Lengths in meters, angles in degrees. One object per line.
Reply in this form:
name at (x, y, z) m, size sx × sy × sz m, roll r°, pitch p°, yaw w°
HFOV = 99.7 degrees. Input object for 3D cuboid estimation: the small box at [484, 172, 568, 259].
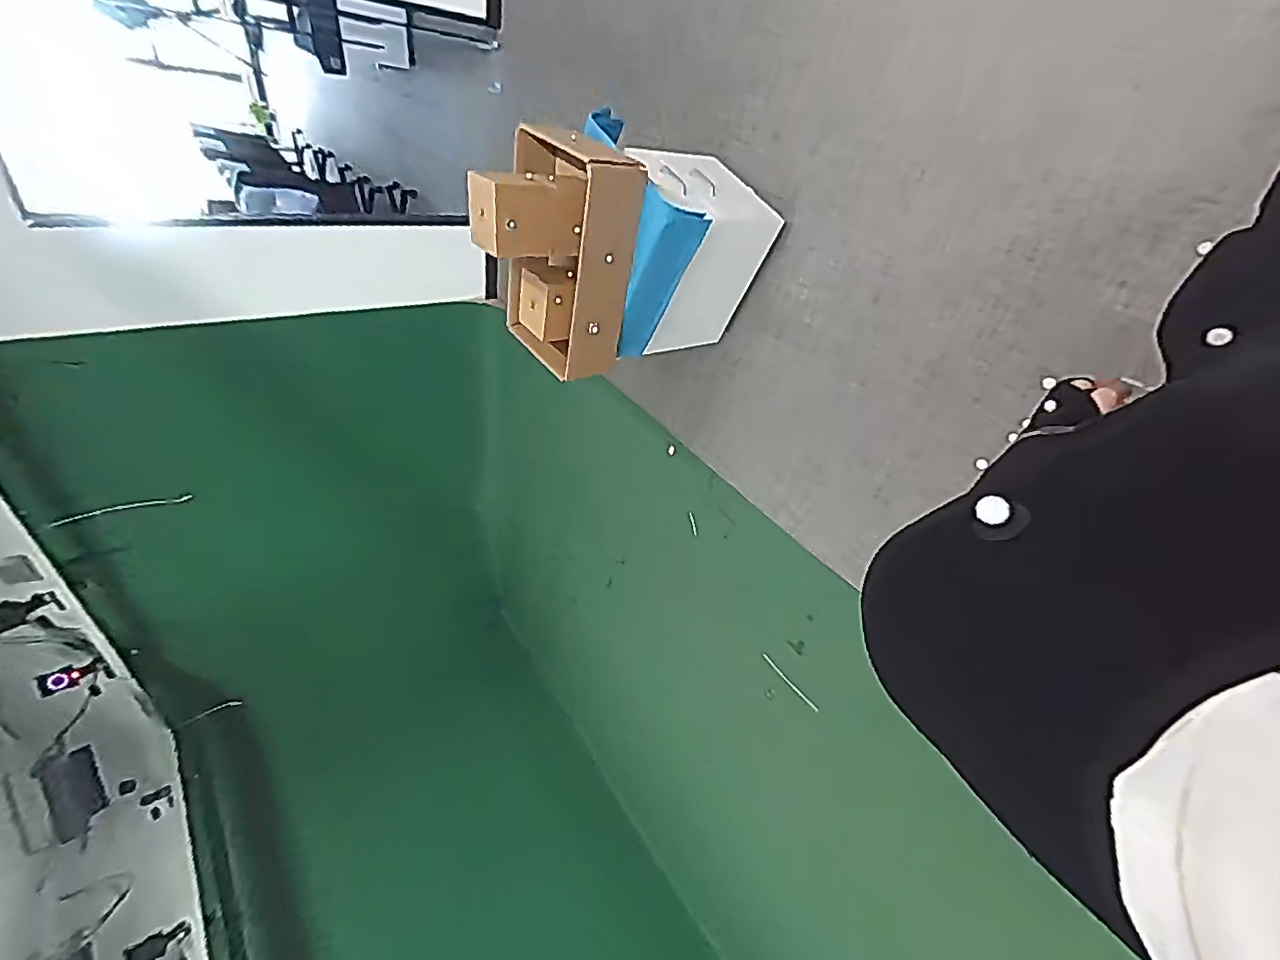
small box at (-0.304, -0.709, 1.448) m, size 0.168 × 0.176 × 0.179 m, roll 43°, pitch 137°, yaw 38°

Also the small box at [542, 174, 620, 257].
small box at (-0.172, -0.751, 1.534) m, size 0.168 × 0.176 × 0.179 m, roll 44°, pitch 139°, yaw 37°
